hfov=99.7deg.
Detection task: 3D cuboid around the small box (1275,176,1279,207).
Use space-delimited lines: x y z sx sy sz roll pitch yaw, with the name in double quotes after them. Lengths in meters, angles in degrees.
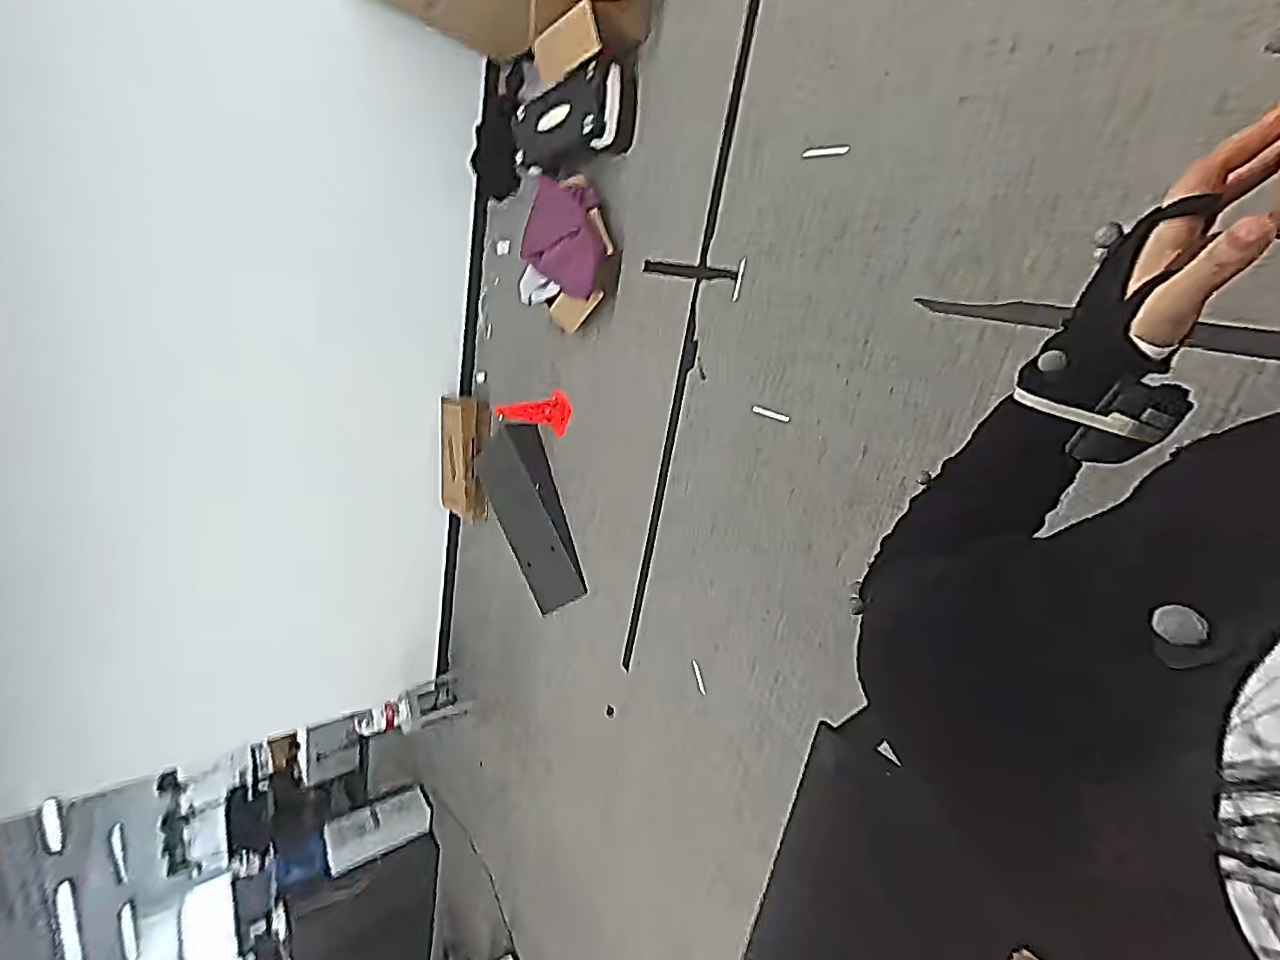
0.419 -0.219 0.231 0.168 0.176 0.179 15 117 48 "small box"
